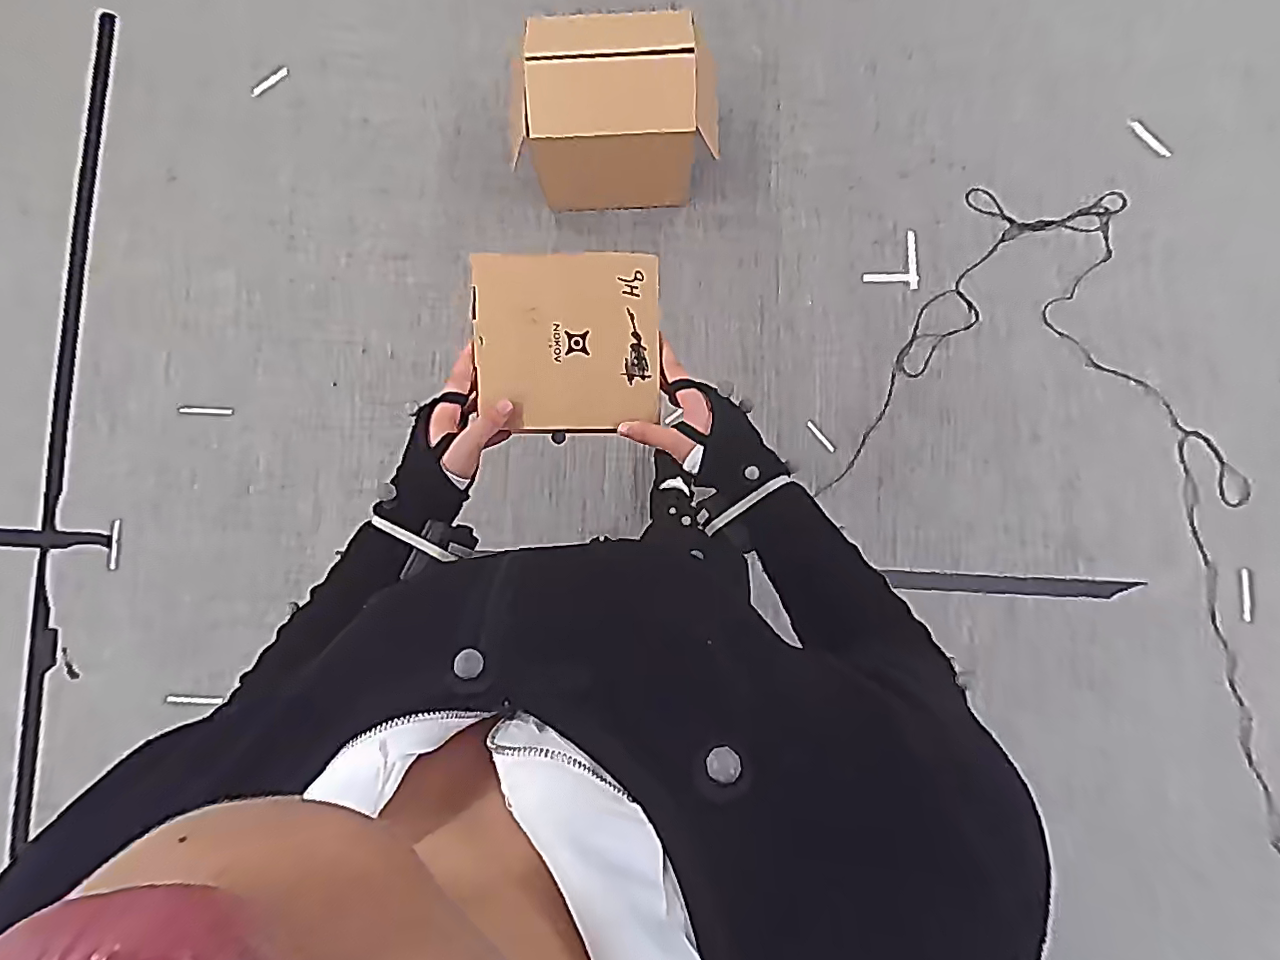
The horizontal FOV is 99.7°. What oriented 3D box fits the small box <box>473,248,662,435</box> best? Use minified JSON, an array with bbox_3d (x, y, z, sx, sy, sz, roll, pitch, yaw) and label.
[{"bbox_3d":[-0.070,-0.134,0.581,0.179,0.176,0.168,-1,93,-4],"label":"small box"}]
